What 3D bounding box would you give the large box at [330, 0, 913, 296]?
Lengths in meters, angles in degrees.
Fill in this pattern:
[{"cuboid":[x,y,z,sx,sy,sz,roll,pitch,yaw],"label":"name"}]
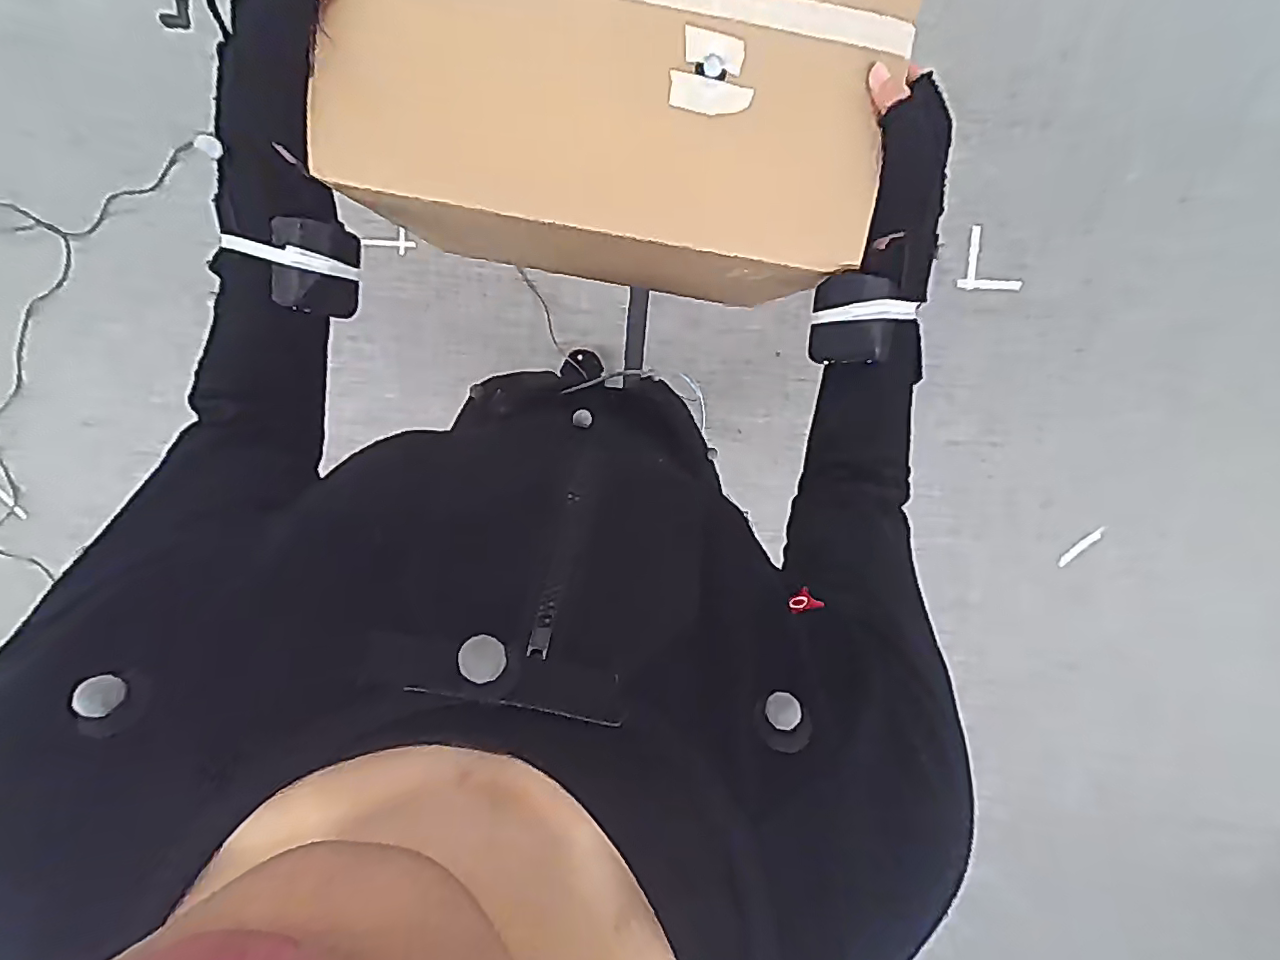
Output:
[{"cuboid":[-0.016,-0.377,0.516,0.408,0.320,0.320,8,104,-6],"label":"large box"}]
